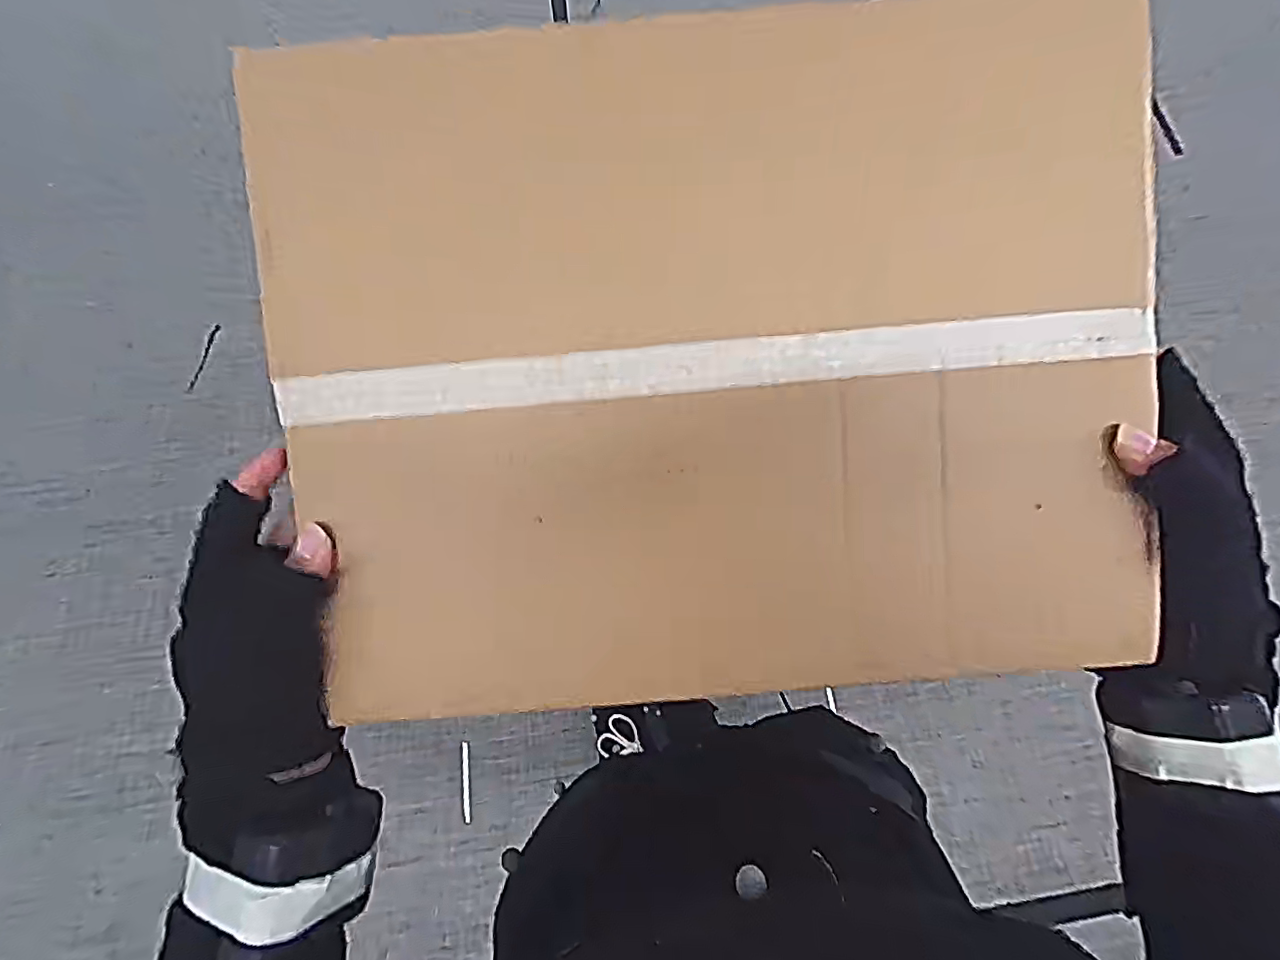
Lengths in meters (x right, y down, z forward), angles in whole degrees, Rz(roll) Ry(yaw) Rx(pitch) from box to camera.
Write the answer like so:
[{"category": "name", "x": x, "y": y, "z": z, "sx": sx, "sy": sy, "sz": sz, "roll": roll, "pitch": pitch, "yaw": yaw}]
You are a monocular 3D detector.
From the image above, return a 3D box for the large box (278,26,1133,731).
[{"category": "large box", "x": 0.036, "y": -0.051, "z": 0.413, "sx": 0.408, "sy": 0.320, "sz": 0.320, "roll": -5, "pitch": 94, "yaw": 0}]
